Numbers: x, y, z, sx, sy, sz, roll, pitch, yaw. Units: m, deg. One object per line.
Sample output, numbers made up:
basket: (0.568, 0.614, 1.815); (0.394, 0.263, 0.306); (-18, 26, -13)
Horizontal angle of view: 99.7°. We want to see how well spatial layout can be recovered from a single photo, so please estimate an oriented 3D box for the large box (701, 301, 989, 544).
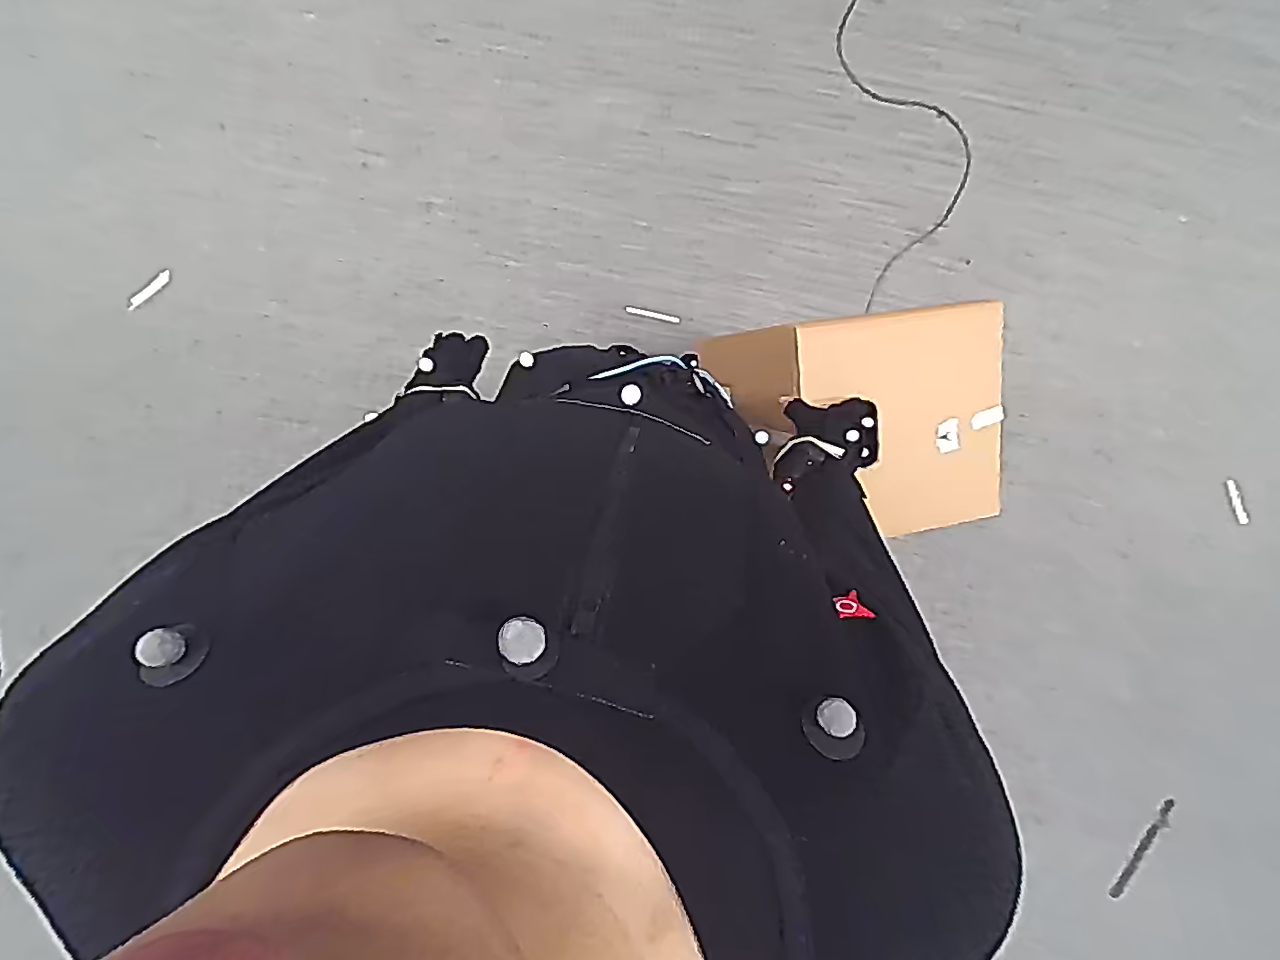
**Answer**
large box: (0.325, -0.114, 0.949); (0.320, 0.408, 0.320); (-9, 103, -9)
